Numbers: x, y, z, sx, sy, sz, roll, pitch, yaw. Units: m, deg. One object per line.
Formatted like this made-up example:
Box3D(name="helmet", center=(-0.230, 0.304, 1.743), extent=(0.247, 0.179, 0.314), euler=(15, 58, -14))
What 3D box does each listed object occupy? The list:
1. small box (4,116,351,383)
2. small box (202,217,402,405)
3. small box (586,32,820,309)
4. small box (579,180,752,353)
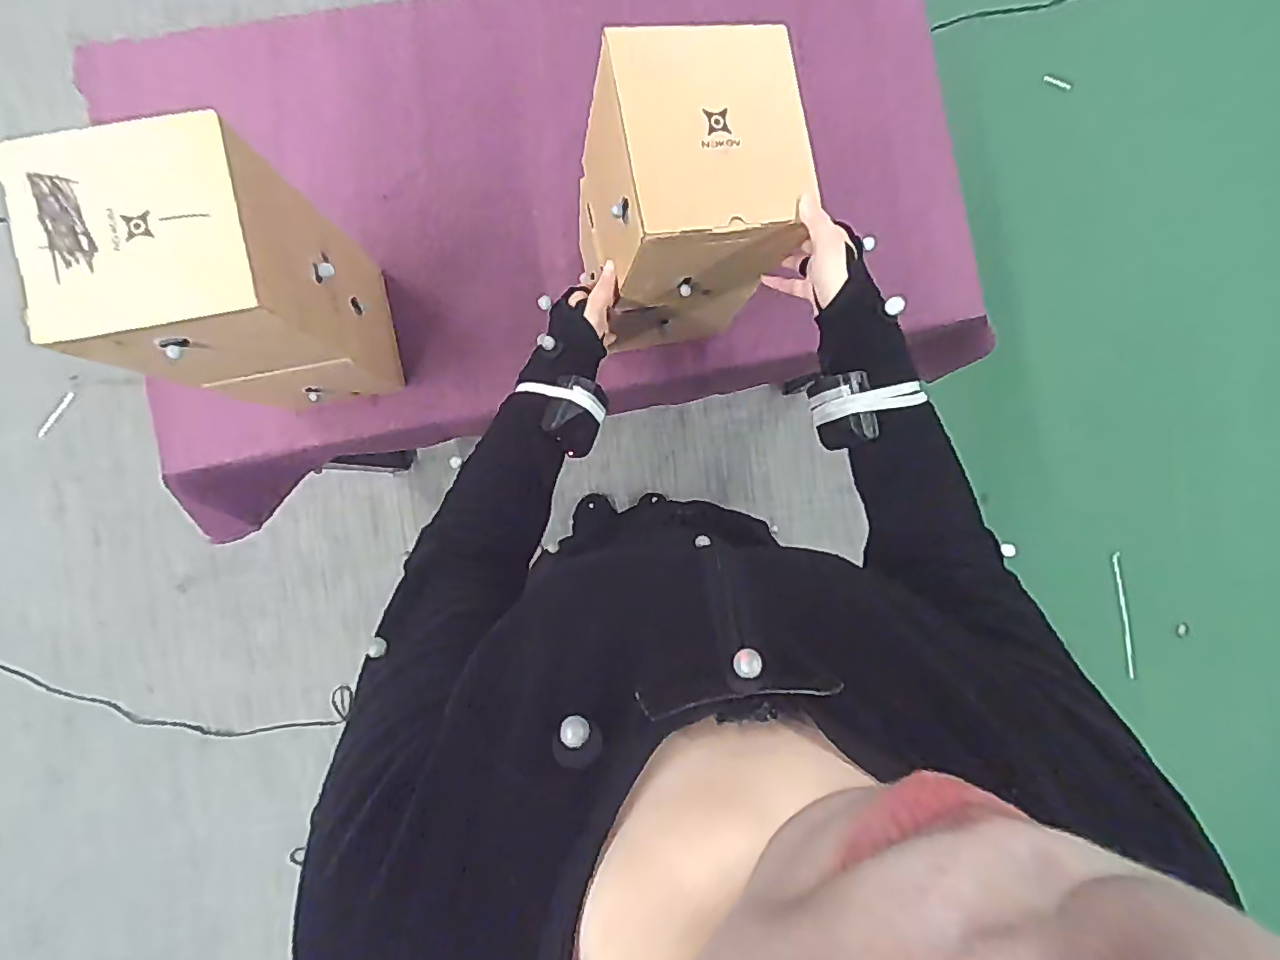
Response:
Box3D(name="small box", center=(-0.413, -0.199, 0.515), extent=(0.179, 0.176, 0.168), euler=(-12, 90, -4))
Box3D(name="small box", center=(-0.421, -0.196, 0.679), extent=(0.168, 0.176, 0.179), euler=(-11, 89, -4))
Box3D(name="small box", center=(0.047, -0.289, 0.534), extent=(0.168, 0.176, 0.179), euler=(-11, 90, -12))
Box3D(name="small box", center=(0.024, -0.275, 0.701), extent=(0.179, 0.176, 0.168), euler=(-12, 90, -6))
